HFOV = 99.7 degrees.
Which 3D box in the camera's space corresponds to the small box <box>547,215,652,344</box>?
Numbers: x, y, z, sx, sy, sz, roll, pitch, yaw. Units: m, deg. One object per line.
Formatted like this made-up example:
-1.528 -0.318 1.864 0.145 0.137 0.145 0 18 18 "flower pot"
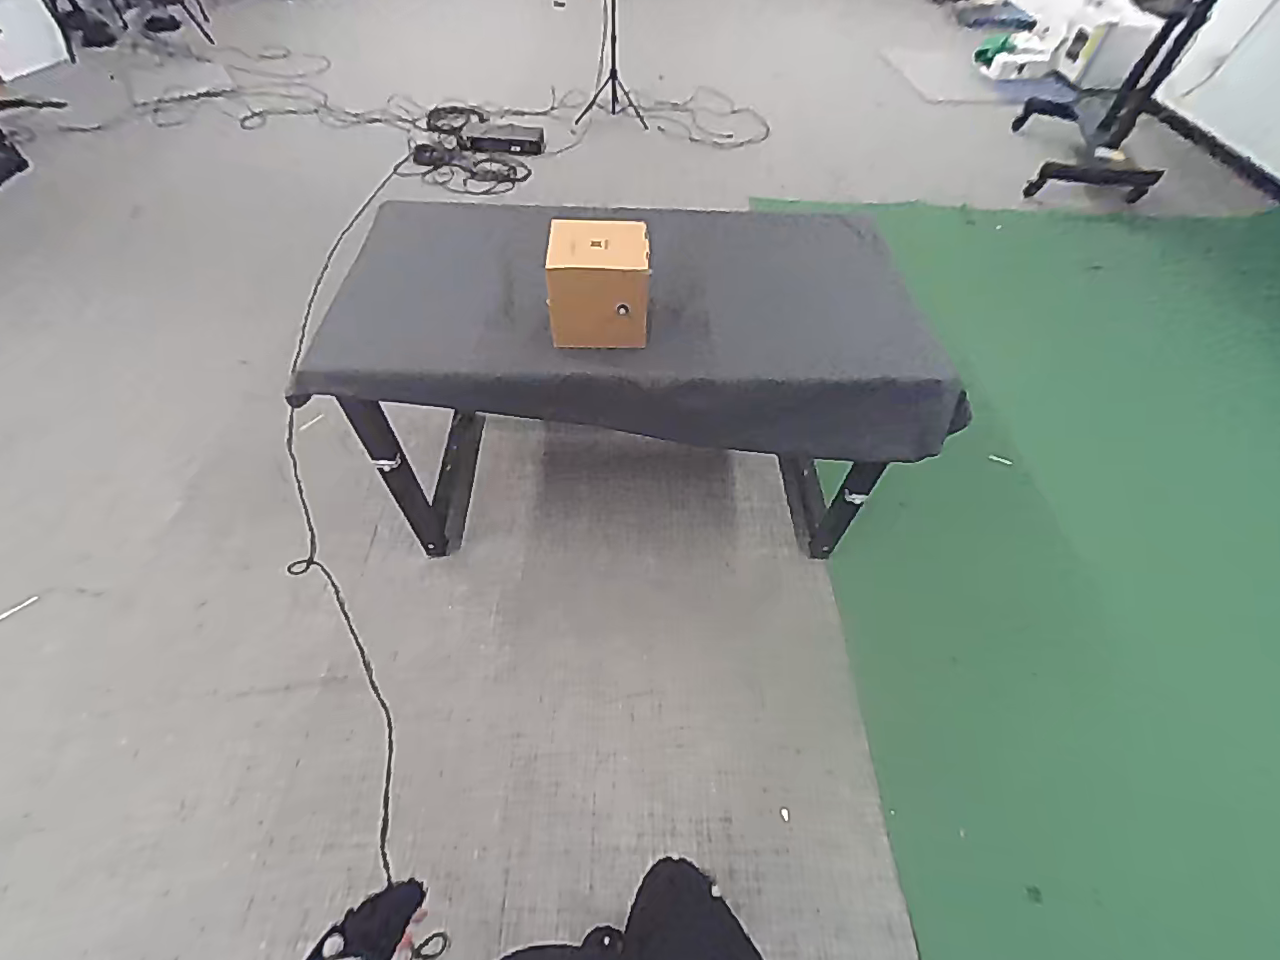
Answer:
-0.071 -0.371 1.013 0.179 0.176 0.168 -1 53 -2 "small box"
